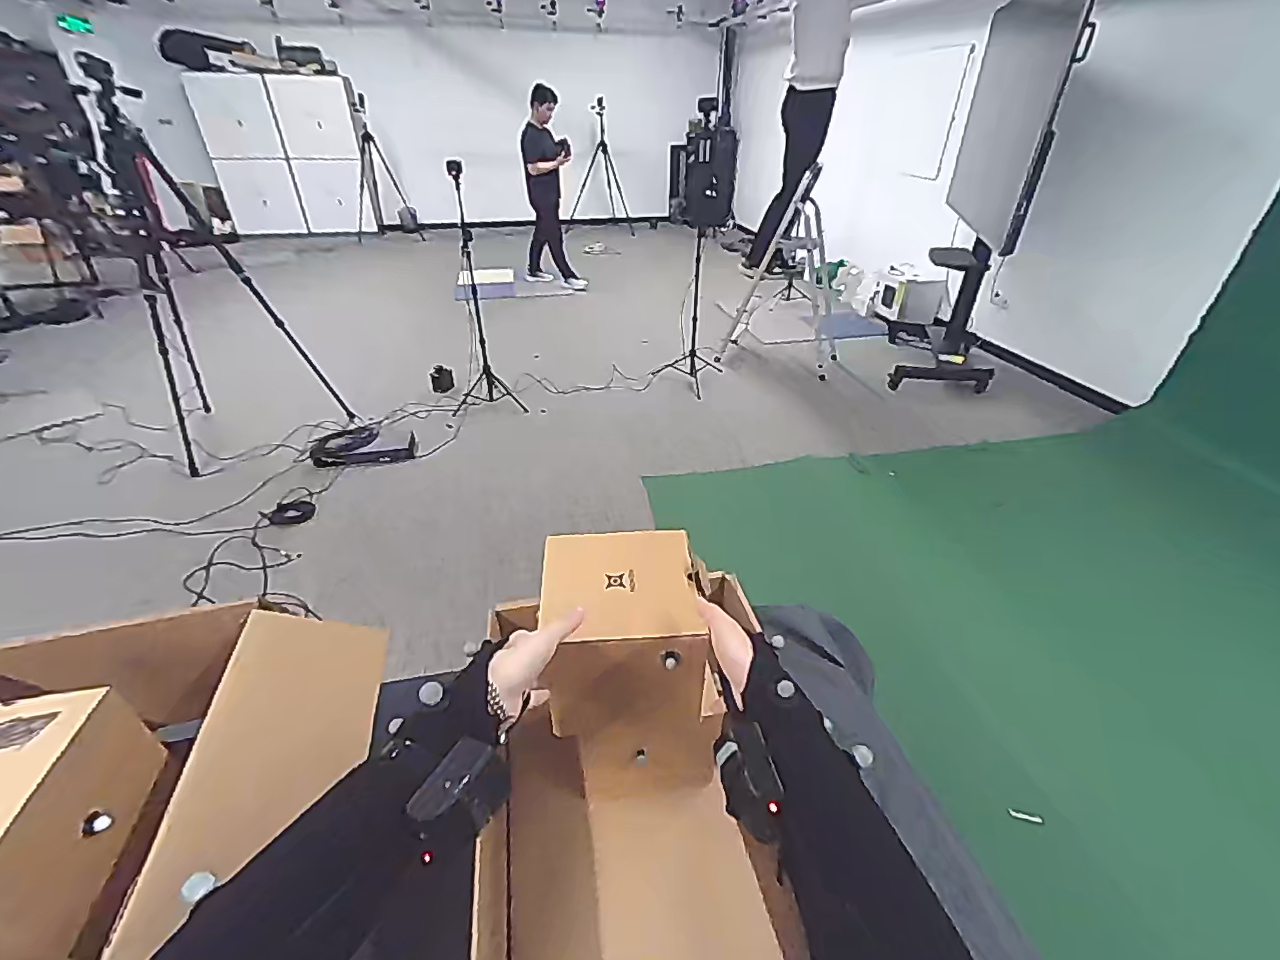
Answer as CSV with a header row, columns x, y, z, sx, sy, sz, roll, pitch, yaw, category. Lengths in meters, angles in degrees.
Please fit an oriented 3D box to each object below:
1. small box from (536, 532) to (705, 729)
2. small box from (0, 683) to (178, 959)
x,y,z,sx,sy,sz,roll,pitch,yaw,category
-0.025,0.182,0.657,0.179,0.176,0.168,-2,36,-4,small box
-0.574,0.317,0.490,0.168,0.176,0.179,-4,37,-9,small box
